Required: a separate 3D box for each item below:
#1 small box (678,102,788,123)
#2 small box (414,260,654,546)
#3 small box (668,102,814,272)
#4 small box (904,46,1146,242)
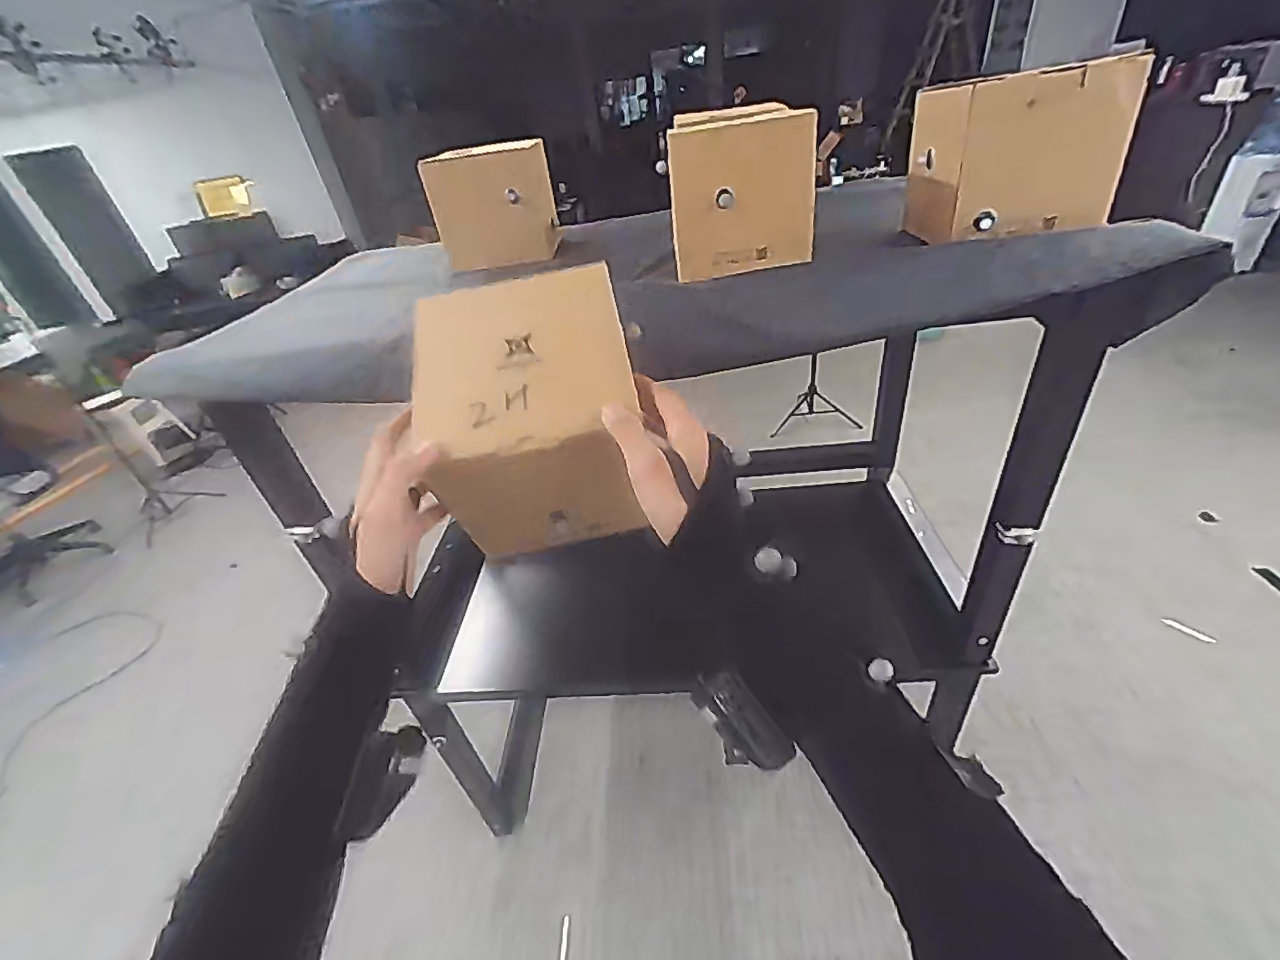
[{"bbox_3d":[0.151,-0.527,0.916,0.168,0.176,0.179,-5,34,5],"label":"small box"},{"bbox_3d":[-0.085,-0.063,0.490,0.168,0.176,0.179,-11,59,-1],"label":"small box"},{"bbox_3d":[0.127,-0.379,0.710,0.168,0.176,0.179,-5,33,6],"label":"small box"},{"bbox_3d":[0.438,-0.393,0.653,0.168,0.176,0.179,-4,32,8],"label":"small box"}]
